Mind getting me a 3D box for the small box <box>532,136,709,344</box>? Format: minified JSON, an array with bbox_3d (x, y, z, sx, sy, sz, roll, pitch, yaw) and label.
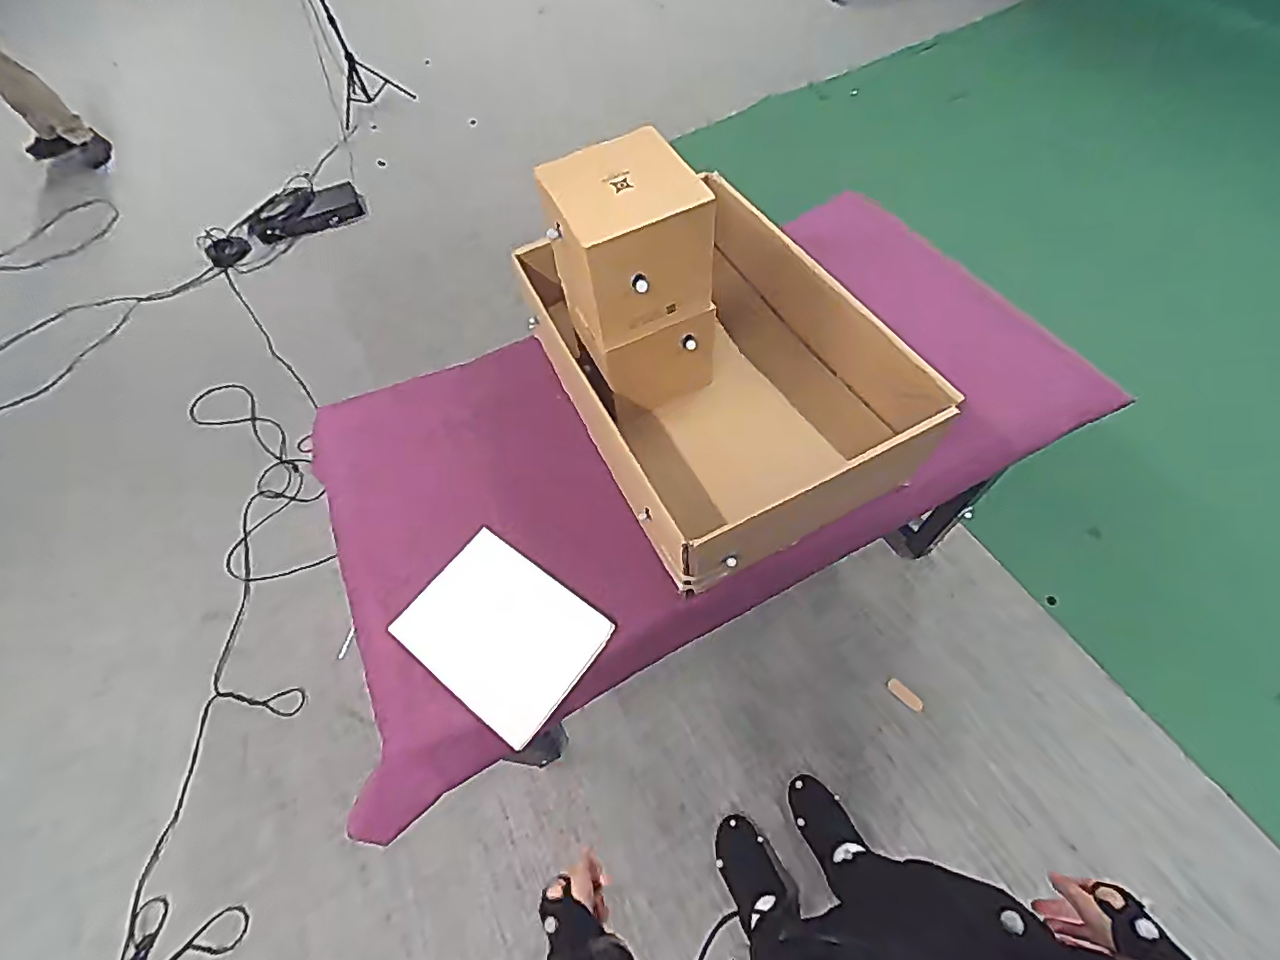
[{"bbox_3d":[-0.019,-0.305,0.714,0.168,0.176,0.179,-24,60,-8],"label":"small box"}]
